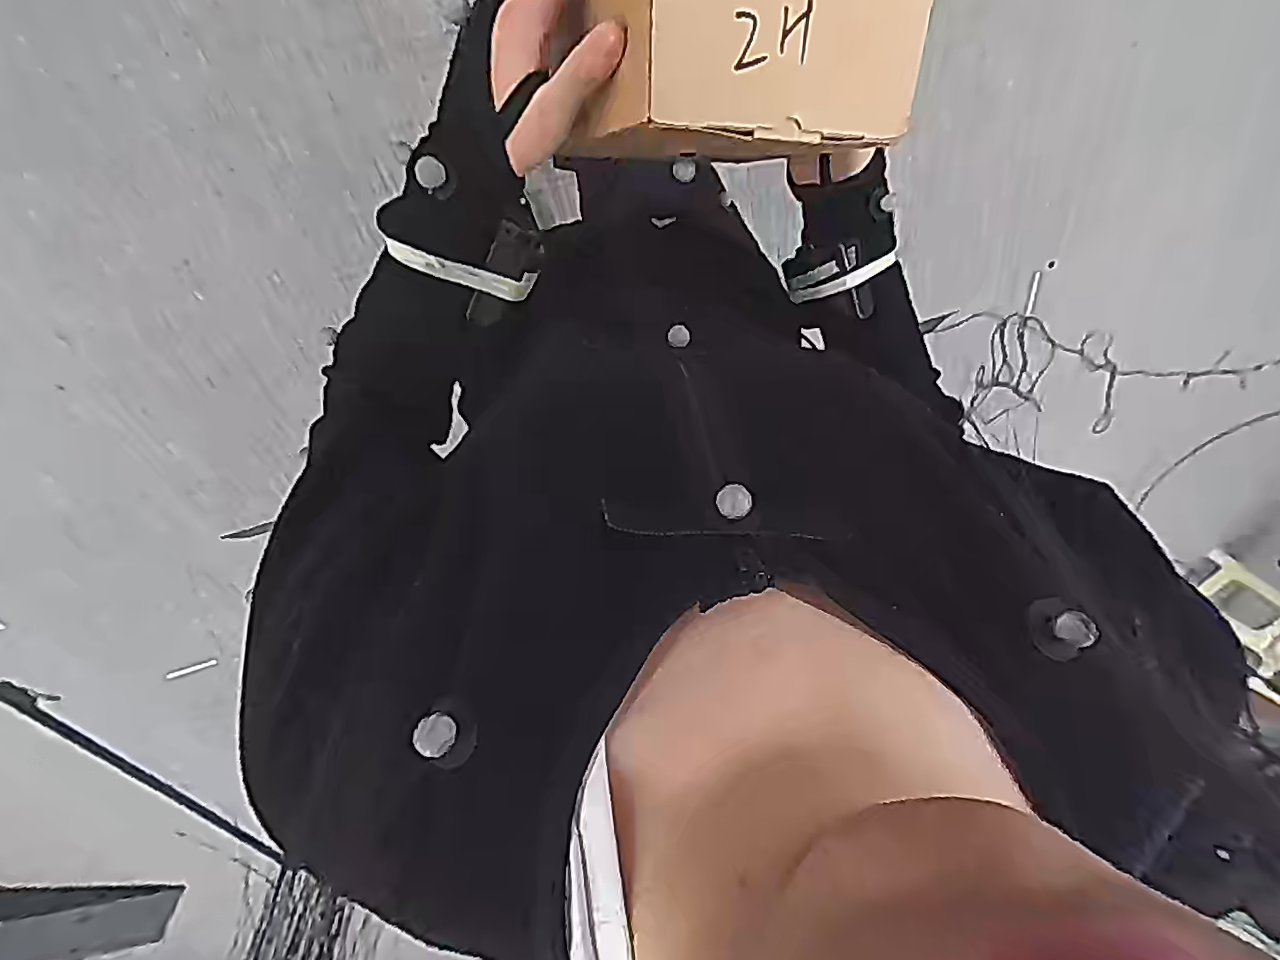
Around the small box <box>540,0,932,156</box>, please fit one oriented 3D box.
[{"bbox_3d":[0.044,-0.295,0.303,0.168,0.176,0.179,-12,119,-23],"label":"small box"}]
